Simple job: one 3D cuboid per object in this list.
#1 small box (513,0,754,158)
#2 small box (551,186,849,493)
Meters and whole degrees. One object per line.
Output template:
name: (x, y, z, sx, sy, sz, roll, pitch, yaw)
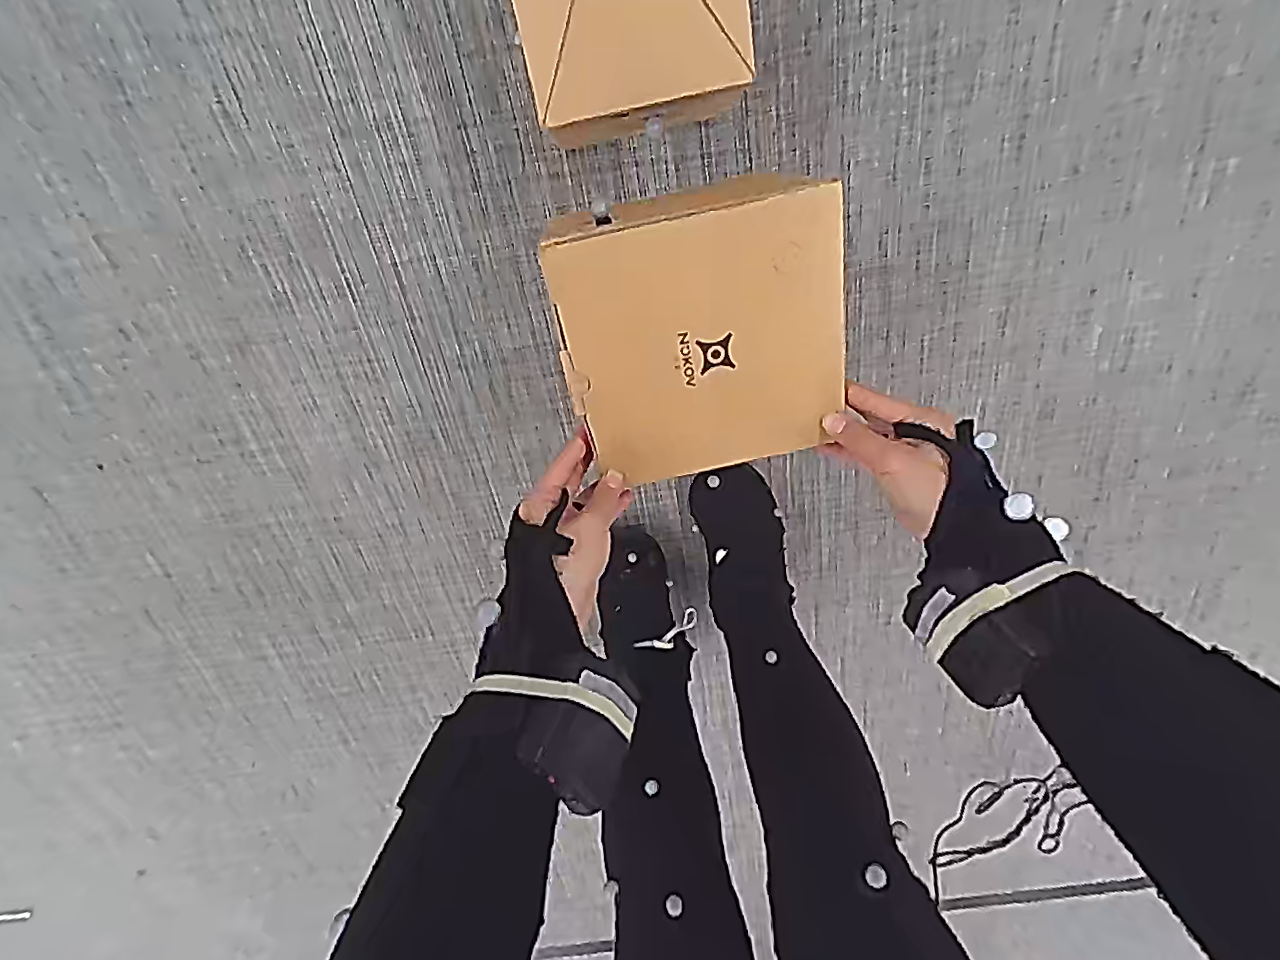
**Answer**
small box: (-0.010, -0.385, 0.441, 0.168, 0.176, 0.179, -10, 116, 3)
small box: (0.038, -0.116, 0.413, 0.179, 0.176, 0.168, -12, 121, 1)
